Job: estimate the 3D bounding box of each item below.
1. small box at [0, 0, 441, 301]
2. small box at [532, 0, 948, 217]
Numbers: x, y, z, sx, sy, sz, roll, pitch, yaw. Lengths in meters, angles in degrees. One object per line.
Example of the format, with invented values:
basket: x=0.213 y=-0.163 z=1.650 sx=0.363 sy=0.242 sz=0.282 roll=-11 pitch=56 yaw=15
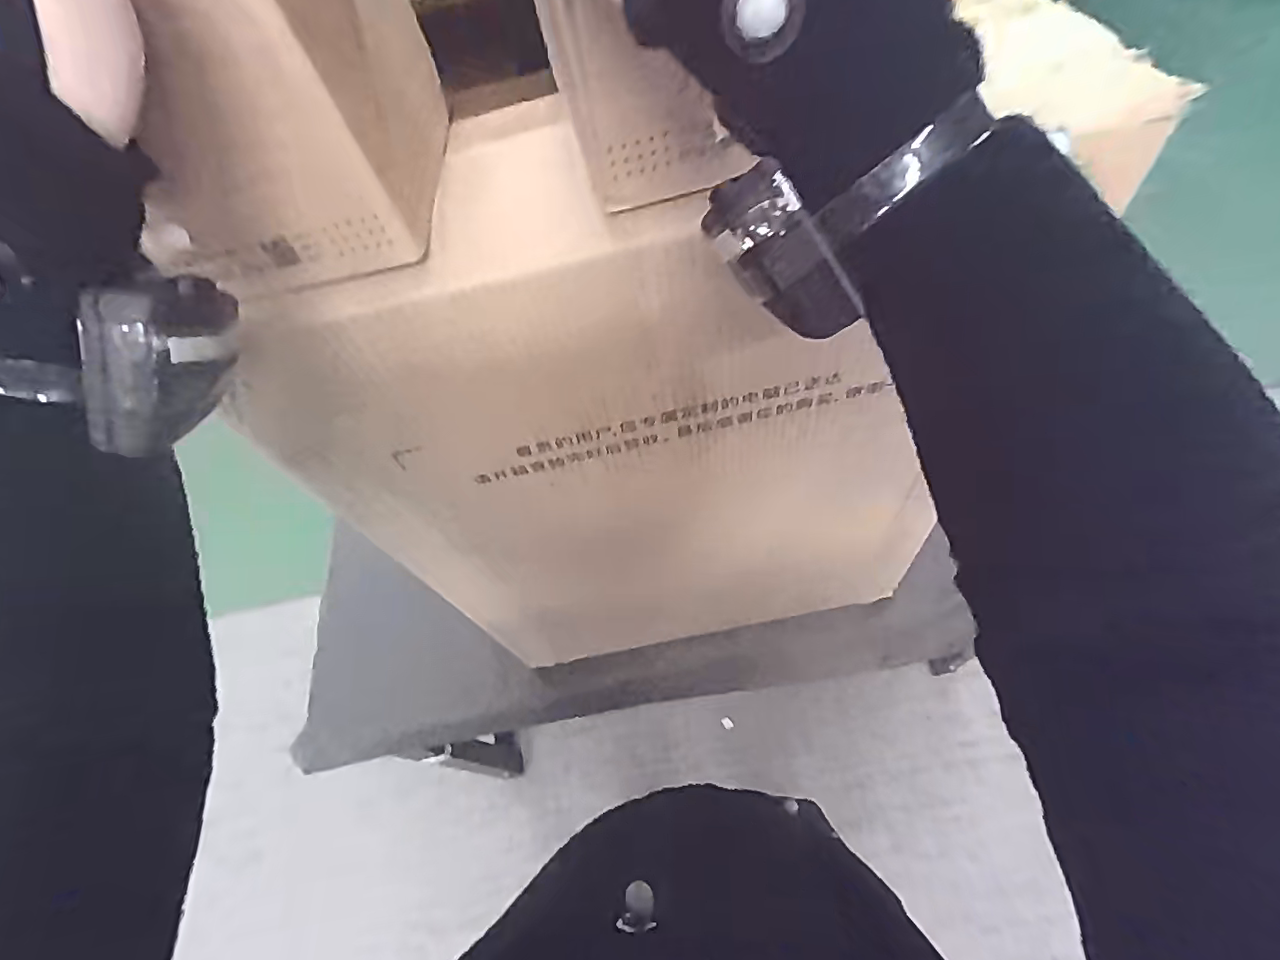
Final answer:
small box: x=-0.213 y=-0.206 z=0.256 sx=0.168 sy=0.176 sz=0.179 roll=-10 pitch=57 yaw=5
small box: x=0.027 y=-0.257 z=0.242 sx=0.168 sy=0.176 sz=0.179 roll=-17 pitch=60 yaw=2
